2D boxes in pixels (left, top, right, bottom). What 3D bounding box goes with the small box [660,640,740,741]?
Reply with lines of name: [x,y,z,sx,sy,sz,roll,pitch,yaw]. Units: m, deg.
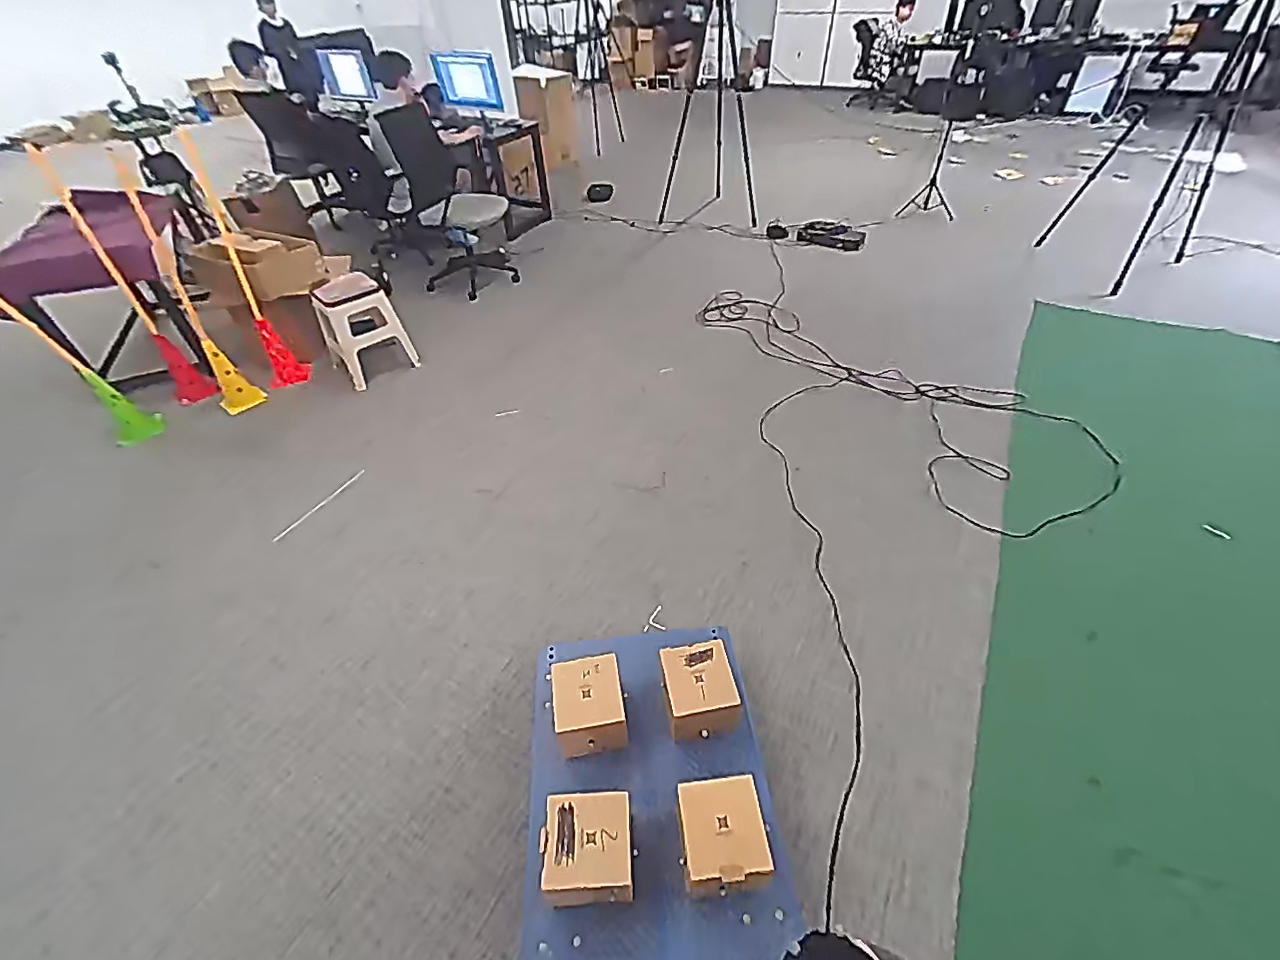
small box: [0.144,0.537,1.379,0.168,0.176,0.179,-8,45,-6]

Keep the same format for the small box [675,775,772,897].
small box: [0.168,0.759,1.153,0.168,0.176,0.179,-5,45,-3]

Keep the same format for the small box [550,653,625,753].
small box: [-0.130,0.565,1.359,0.168,0.176,0.179,-7,44,-6]
